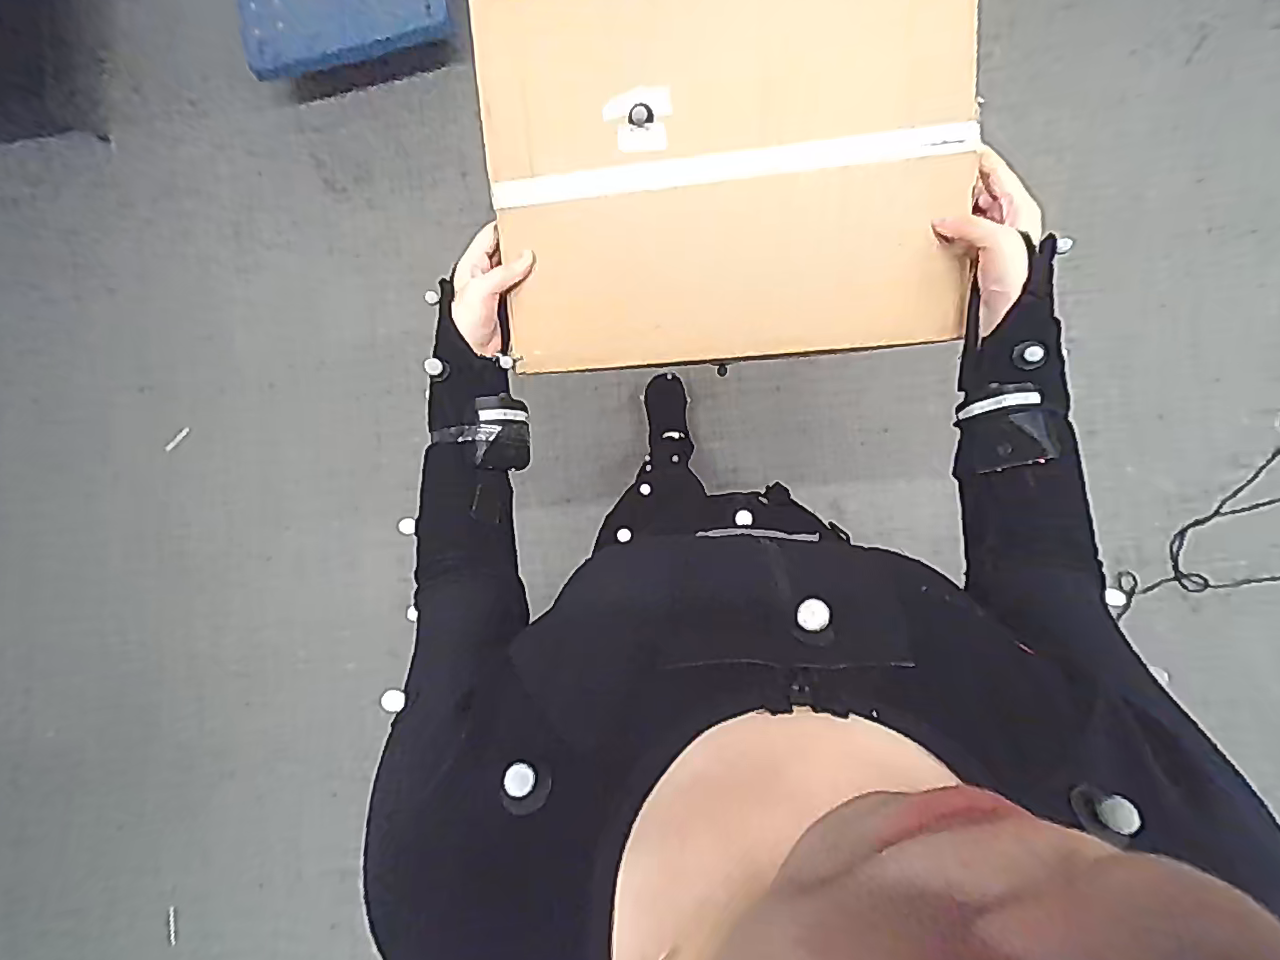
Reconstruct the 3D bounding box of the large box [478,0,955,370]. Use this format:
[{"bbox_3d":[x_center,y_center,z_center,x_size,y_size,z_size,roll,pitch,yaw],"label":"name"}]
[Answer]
[{"bbox_3d":[0.086,-0.304,0.622,0.408,0.320,0.320,-3,101,8],"label":"large box"}]
